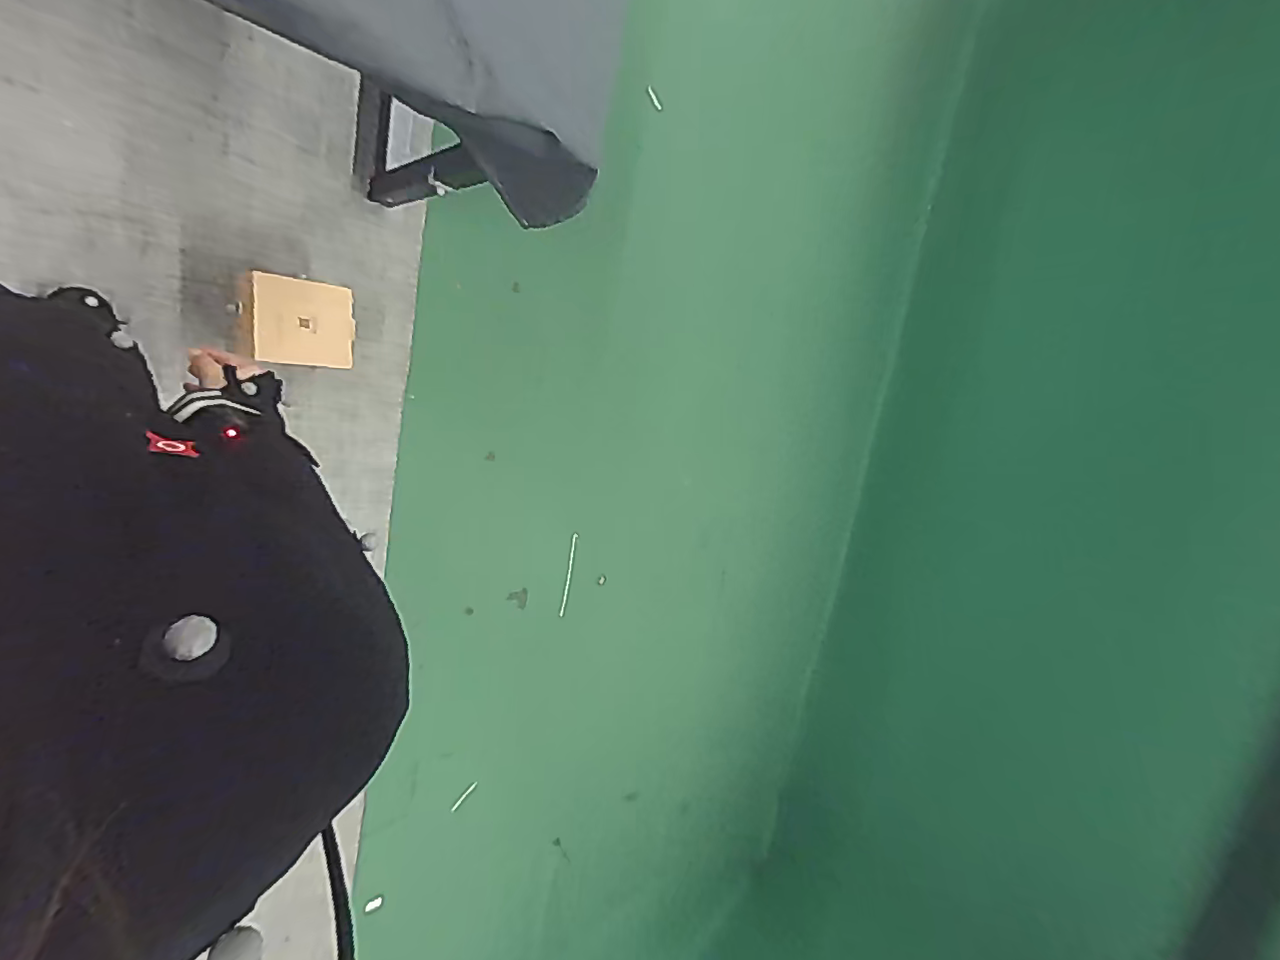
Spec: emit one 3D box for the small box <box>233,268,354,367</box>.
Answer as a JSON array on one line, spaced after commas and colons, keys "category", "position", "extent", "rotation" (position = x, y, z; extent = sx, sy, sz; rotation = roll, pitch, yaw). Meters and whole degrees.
[{"category": "small box", "position": [-0.714, -0.331, 1.113], "extent": [0.179, 0.176, 0.168], "rotation": [-4, 106, -46]}]
